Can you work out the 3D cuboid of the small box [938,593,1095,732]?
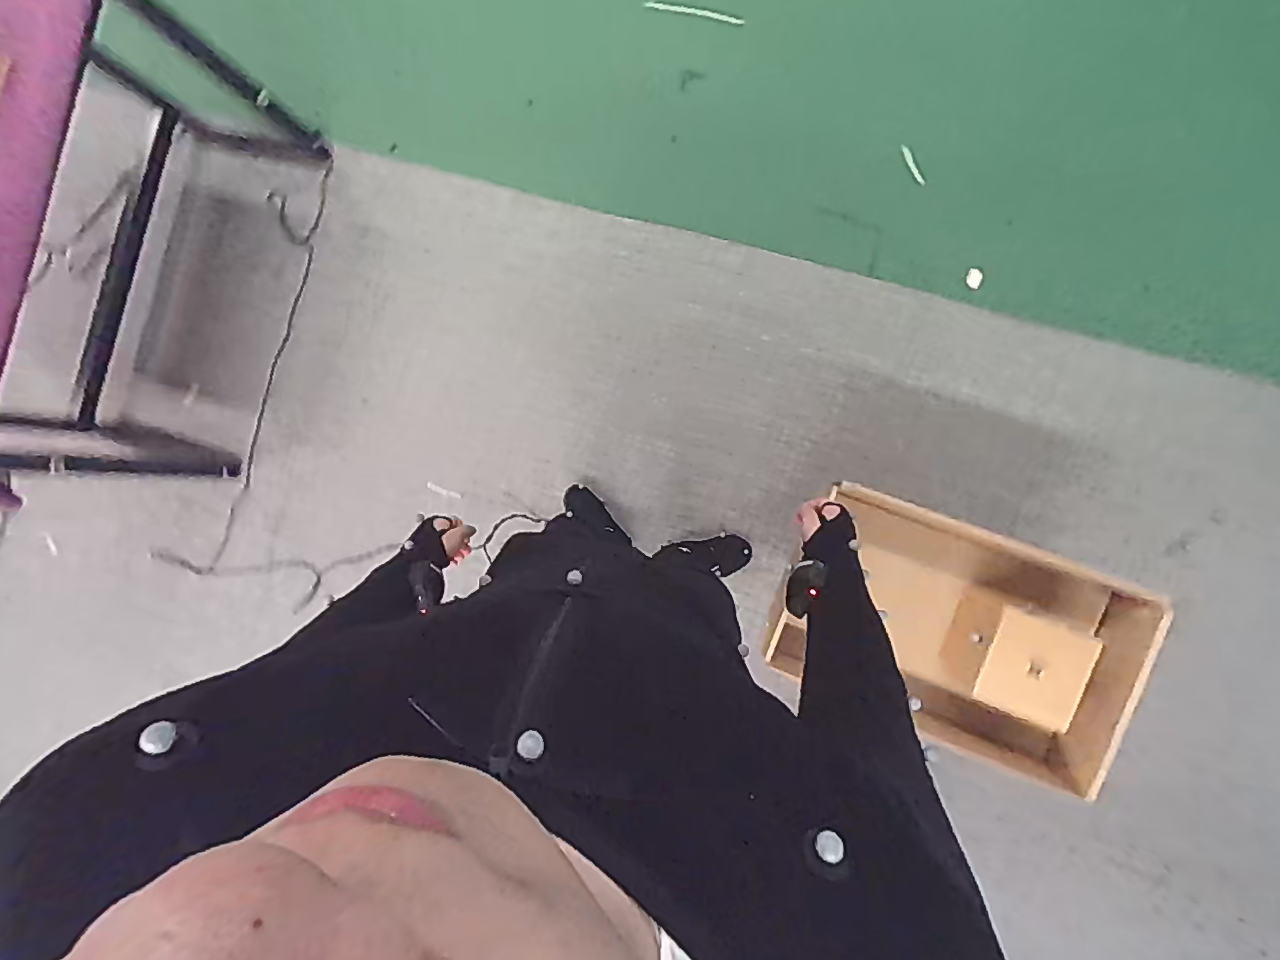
[{"bbox_3d":[0.706,0.339,1.041,0.168,0.176,0.179,21,92,8],"label":"small box"}]
